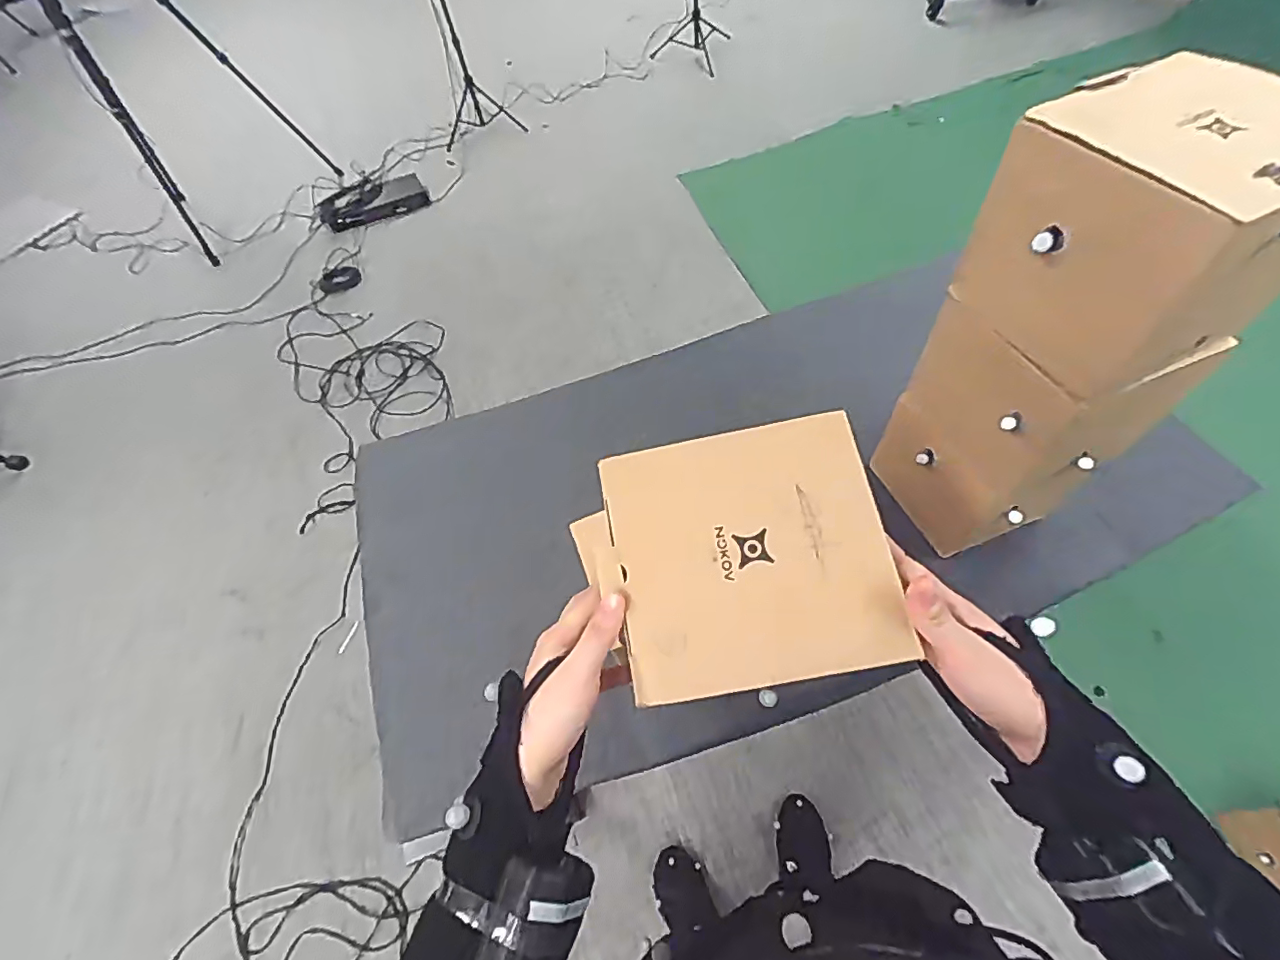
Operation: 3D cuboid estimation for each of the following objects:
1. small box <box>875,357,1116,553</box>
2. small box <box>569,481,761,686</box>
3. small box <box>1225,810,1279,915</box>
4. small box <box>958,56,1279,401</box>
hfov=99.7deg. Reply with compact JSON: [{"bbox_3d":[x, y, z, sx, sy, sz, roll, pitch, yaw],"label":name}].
[{"bbox_3d":[0.444,-0.023,0.713,0.168,0.176,0.179,-21,57,-6],"label":"small box"},{"bbox_3d":[0.030,0.134,0.670,0.179,0.176,0.168,-20,57,-5],"label":"small box"},{"bbox_3d":[1.275,0.717,1.010,0.179,0.176,0.168,-7,59,3],"label":"small box"},{"bbox_3d":[0.404,-0.197,0.438,0.168,0.176,0.179,-24,57,-7],"label":"small box"}]
